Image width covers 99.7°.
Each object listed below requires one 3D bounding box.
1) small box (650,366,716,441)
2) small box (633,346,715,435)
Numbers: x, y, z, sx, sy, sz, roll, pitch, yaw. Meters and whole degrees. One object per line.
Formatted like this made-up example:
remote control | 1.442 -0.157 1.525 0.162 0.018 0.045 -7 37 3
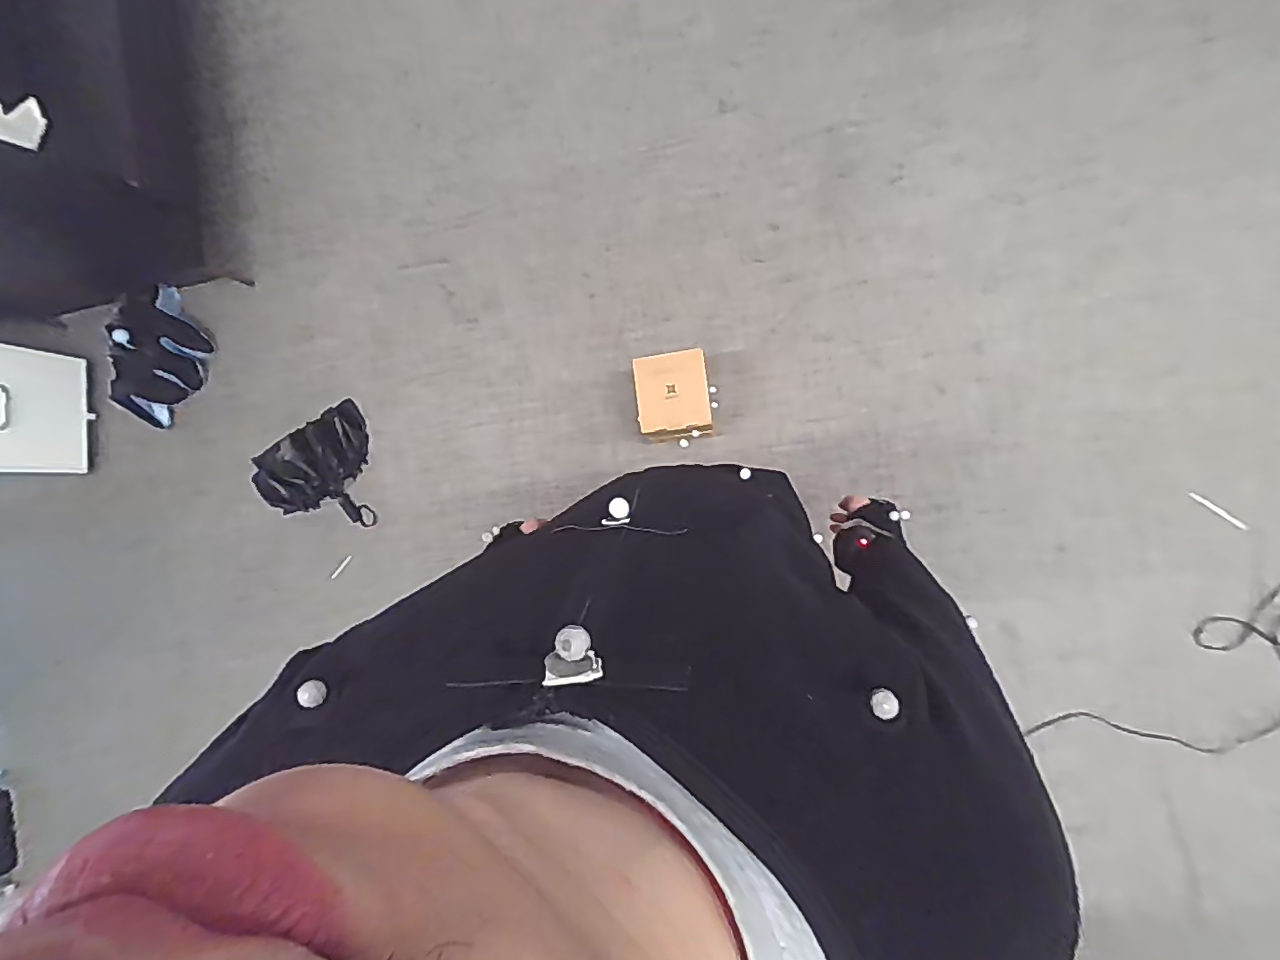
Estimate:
small box | 0.115 -0.203 1.464 0.168 0.176 0.179 -5 90 12
small box | 0.087 -0.206 1.304 0.168 0.176 0.179 -7 88 10
